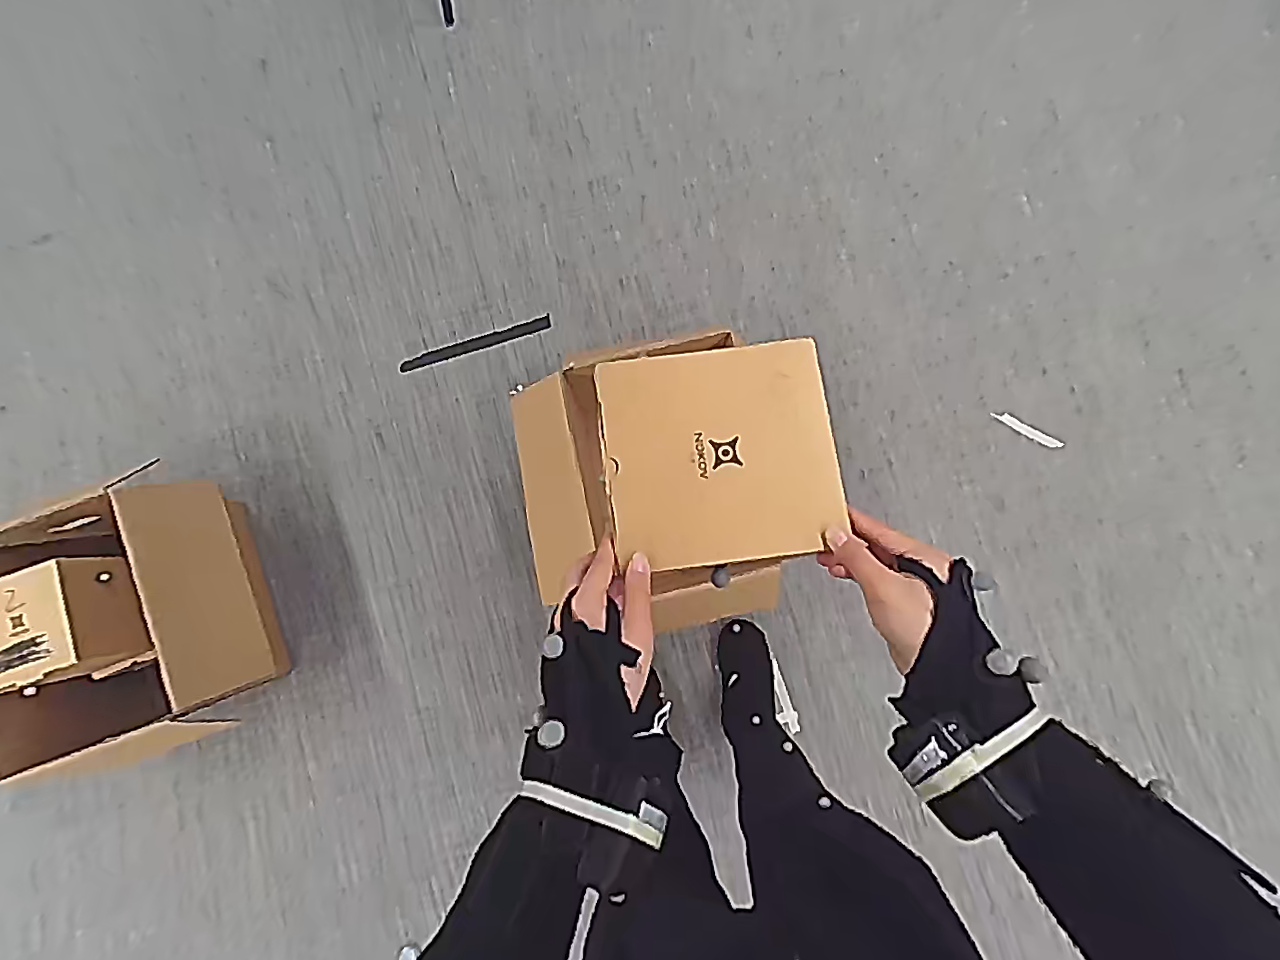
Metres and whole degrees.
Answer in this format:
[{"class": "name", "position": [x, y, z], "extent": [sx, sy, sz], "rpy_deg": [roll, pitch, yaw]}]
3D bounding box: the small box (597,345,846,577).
[{"class": "small box", "position": [0.060, -0.005, 0.493], "extent": [0.179, 0.176, 0.168], "rpy_deg": [-7, 79, 0]}]
